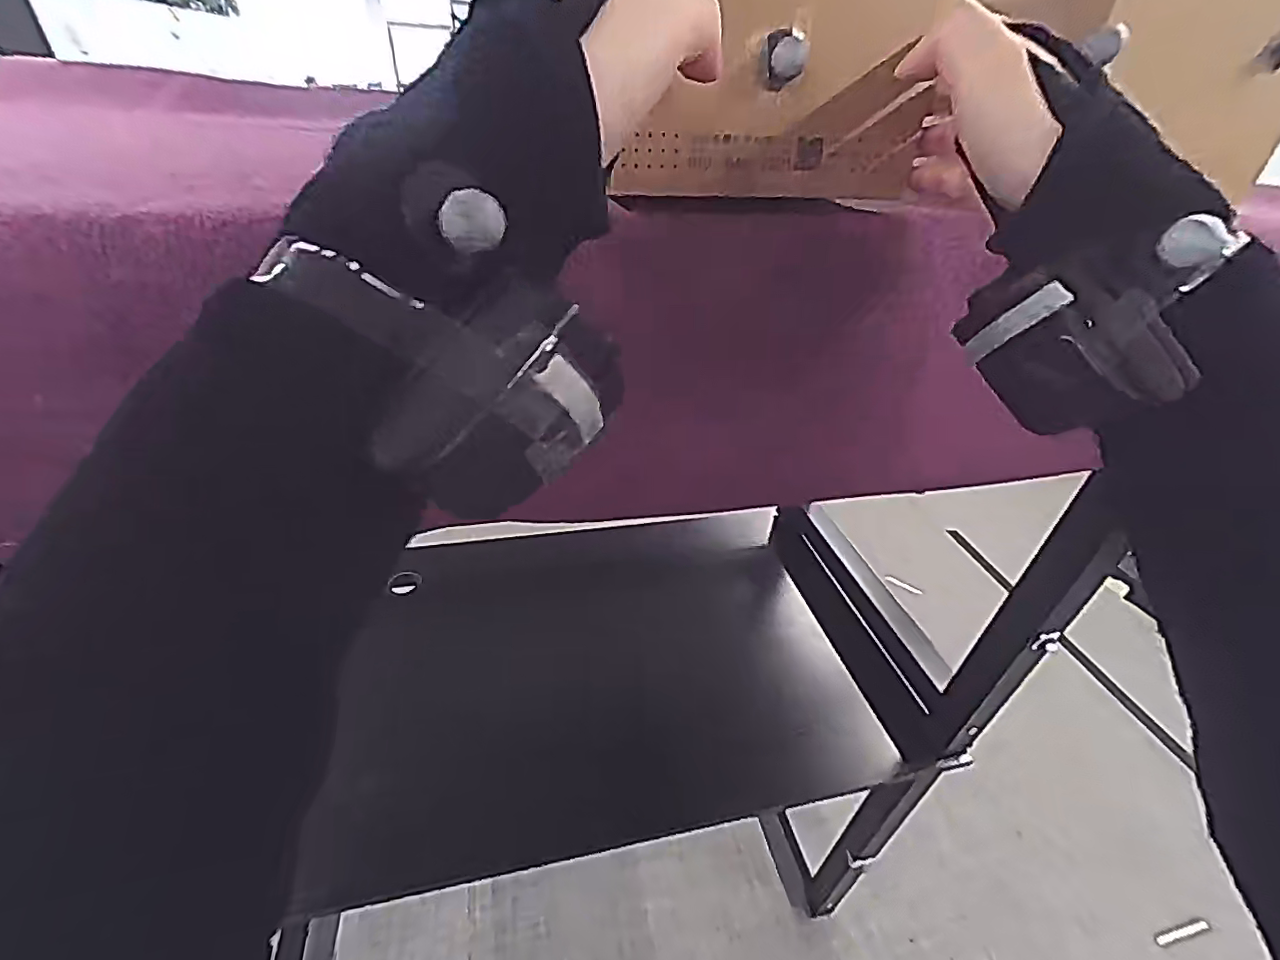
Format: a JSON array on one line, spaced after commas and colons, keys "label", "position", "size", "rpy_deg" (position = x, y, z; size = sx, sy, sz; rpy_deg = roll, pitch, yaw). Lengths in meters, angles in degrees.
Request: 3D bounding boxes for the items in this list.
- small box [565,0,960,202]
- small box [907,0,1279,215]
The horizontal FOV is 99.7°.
[{"label": "small box", "position": [0.047, -0.255, 0.292], "size": [0.168, 0.176, 0.179], "rpy_deg": [-6, 34, -11]}, {"label": "small box", "position": [0.317, -0.289, 0.372], "size": [0.179, 0.176, 0.168], "rpy_deg": [-5, 36, -10]}]
